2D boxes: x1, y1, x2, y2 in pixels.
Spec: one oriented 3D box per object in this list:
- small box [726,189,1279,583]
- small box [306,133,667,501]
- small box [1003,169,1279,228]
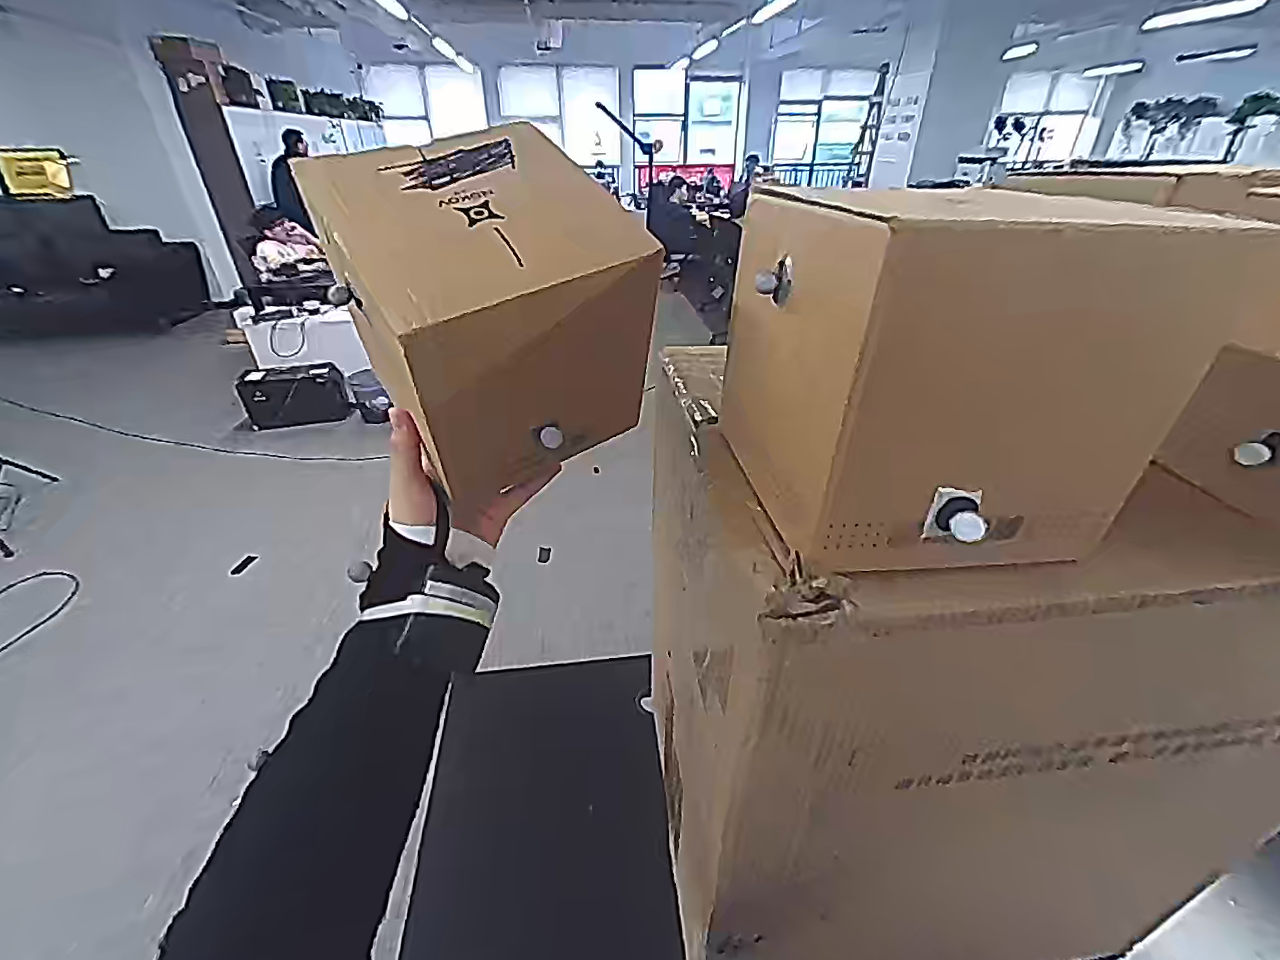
[{"bbox_3d":[0.154,-0.063,0.311,0.168,0.176,0.179,-3,33,-7],"label":"small box"},{"bbox_3d":[-0.105,-0.117,0.397,0.168,0.176,0.179,-27,63,-23],"label":"small box"},{"bbox_3d":[0.444,-0.186,0.498,0.168,0.176,0.179,-6,29,-6],"label":"small box"}]
